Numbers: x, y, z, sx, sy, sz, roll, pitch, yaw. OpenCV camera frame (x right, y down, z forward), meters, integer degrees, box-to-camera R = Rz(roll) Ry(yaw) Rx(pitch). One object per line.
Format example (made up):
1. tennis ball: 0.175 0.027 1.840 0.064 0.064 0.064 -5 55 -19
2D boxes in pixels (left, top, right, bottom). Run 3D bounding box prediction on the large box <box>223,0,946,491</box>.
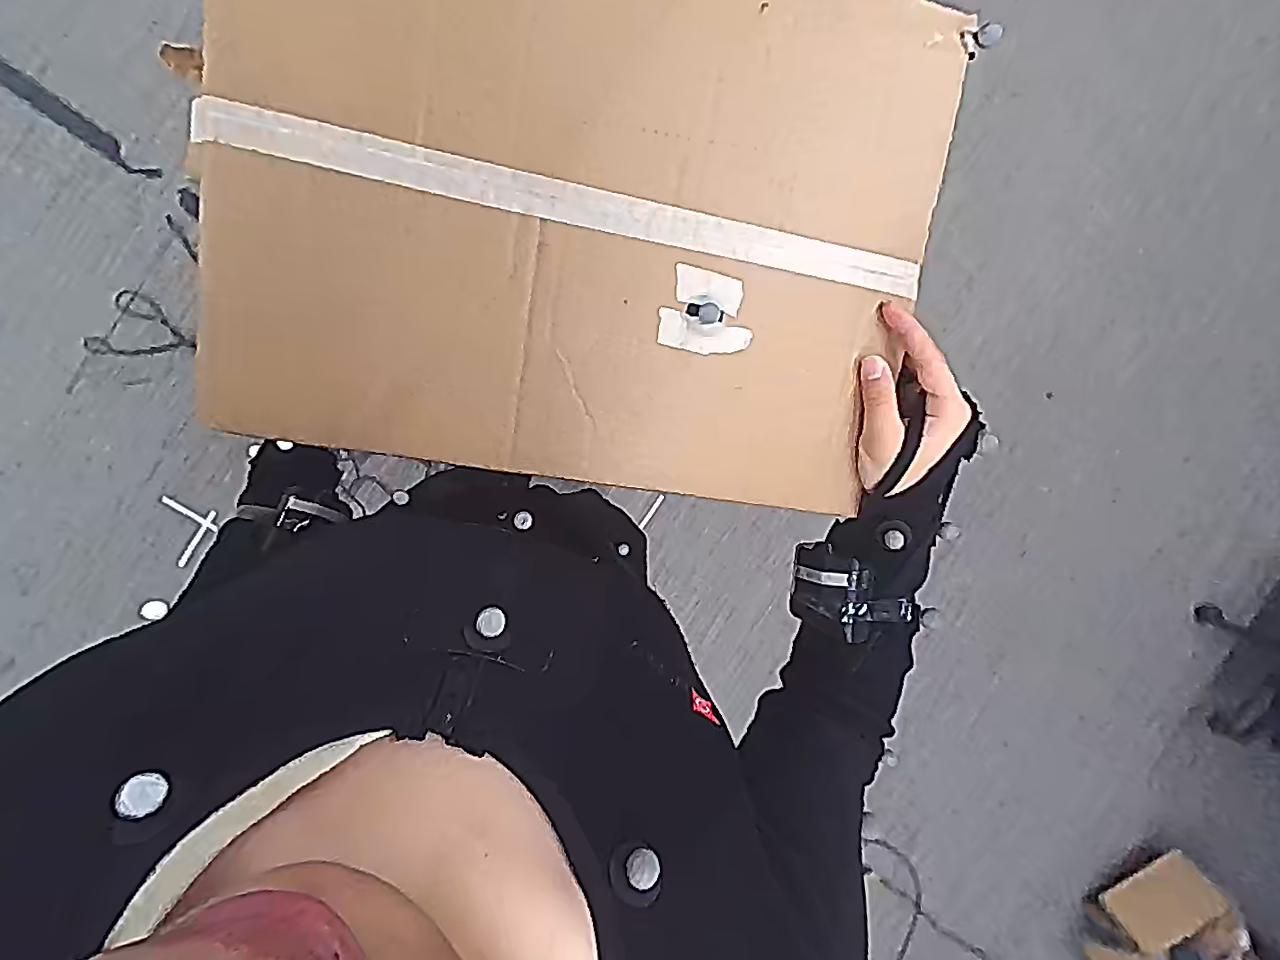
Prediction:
1. large box: -0.049 -0.187 0.463 0.408 0.320 0.320 7 100 -12
